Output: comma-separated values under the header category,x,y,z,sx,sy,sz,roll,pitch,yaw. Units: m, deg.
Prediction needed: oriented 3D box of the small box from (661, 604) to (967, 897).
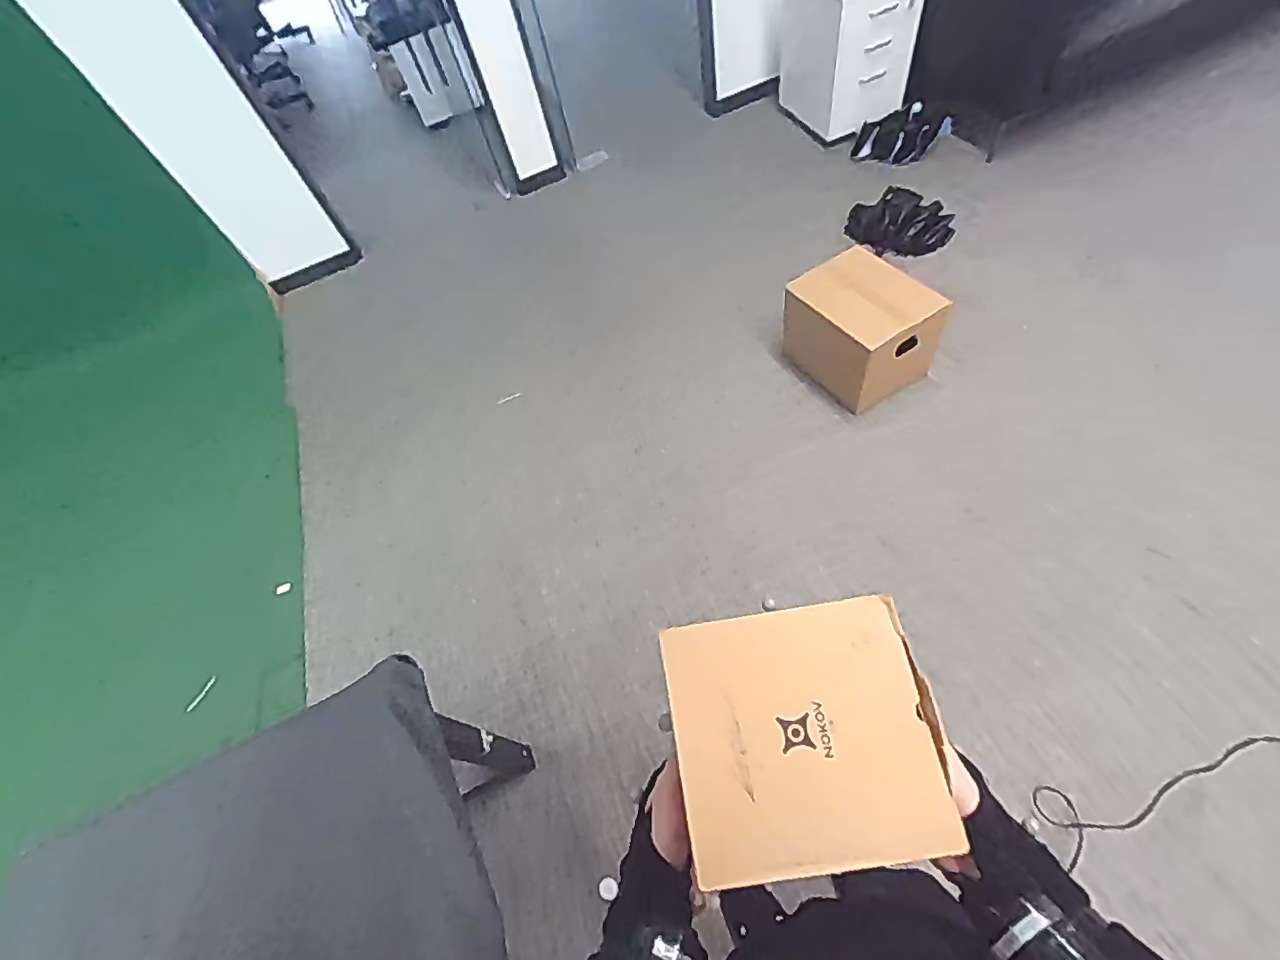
category,x,y,z,sx,sy,sz,roll,pitch,yaw
small box,0.119,0.206,0.445,0.179,0.176,0.168,-11,68,3
